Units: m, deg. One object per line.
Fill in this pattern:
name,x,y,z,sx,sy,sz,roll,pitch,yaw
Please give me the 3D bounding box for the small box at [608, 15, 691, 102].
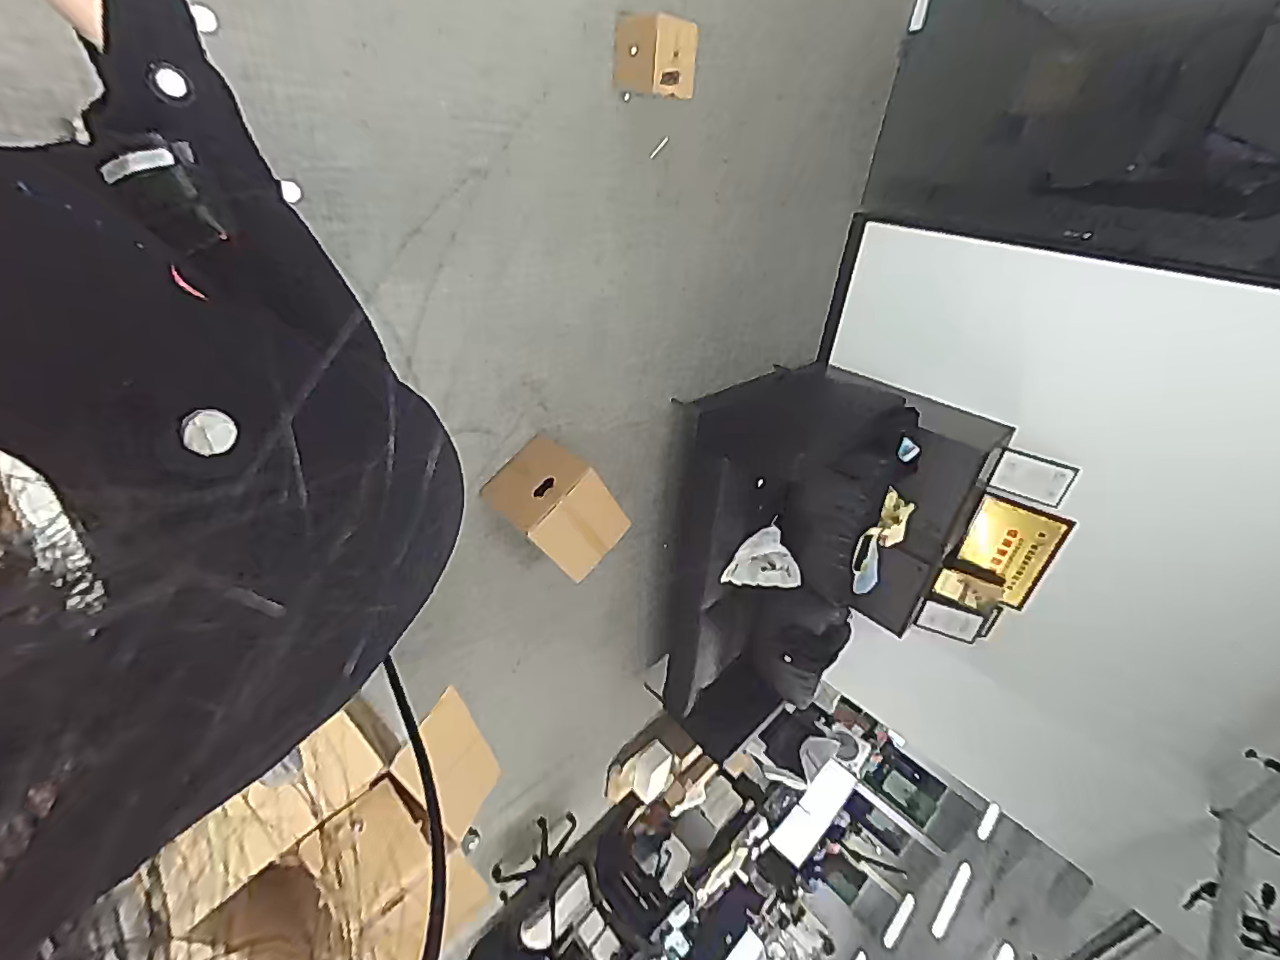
small box,0.023,-1.212,1.565,0.168,0.176,0.179,-24,132,-38
